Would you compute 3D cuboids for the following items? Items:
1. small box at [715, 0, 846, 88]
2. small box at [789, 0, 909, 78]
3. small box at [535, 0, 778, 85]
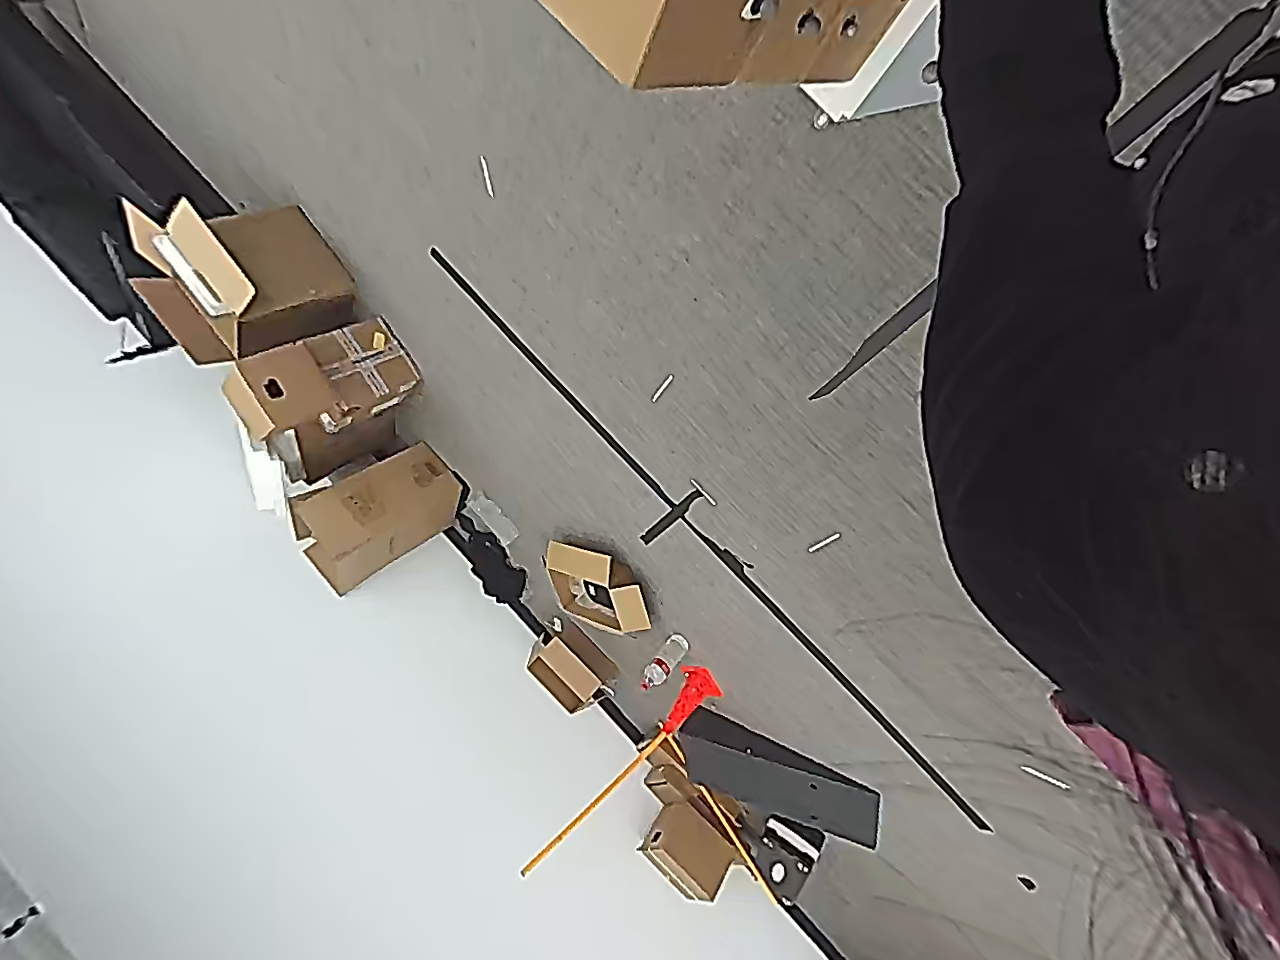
[{"bbox_3d":[0.113,-0.512,0.506,0.179,0.176,0.168,47,141,5],"label":"small box"},{"bbox_3d":[0.208,-0.592,0.609,0.179,0.176,0.168,49,141,4],"label":"small box"},{"bbox_3d":[0.015,-0.434,0.402,0.179,0.176,0.168,46,142,4],"label":"small box"}]
